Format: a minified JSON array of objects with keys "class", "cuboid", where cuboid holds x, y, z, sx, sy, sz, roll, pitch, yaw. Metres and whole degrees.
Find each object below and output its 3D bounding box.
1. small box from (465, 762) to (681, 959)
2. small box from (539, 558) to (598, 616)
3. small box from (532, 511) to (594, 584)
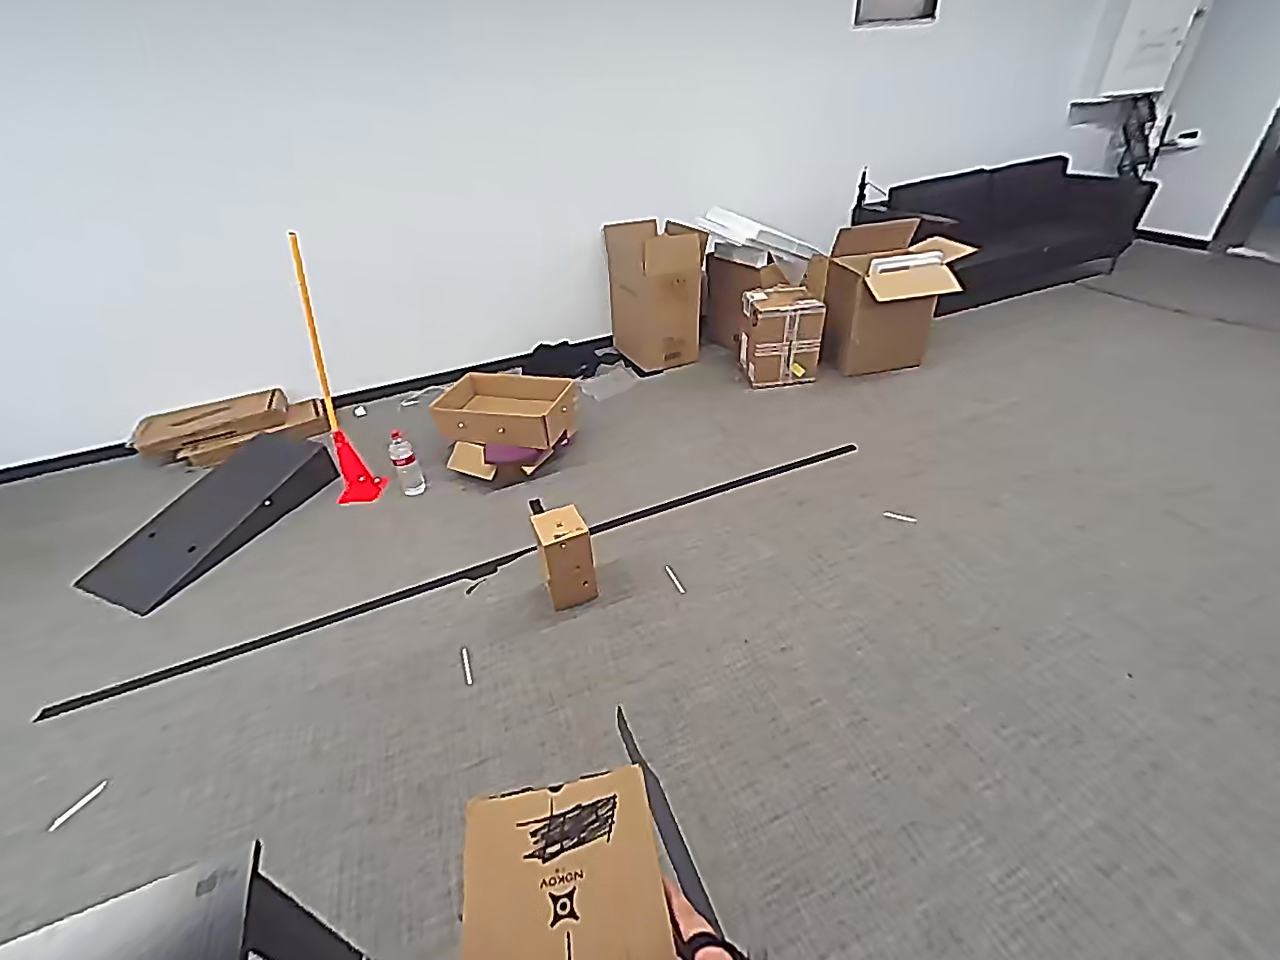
[{"class":"small box","cuboid":[-0.059,0.399,0.498,0.168,0.176,0.179,-9,41,-8]},{"class":"small box","cuboid":[-0.266,0.375,2.028,0.179,0.176,0.168,-18,36,-16]},{"class":"small box","cuboid":[-0.275,0.241,1.933,0.168,0.176,0.179,-18,36,-18]}]
